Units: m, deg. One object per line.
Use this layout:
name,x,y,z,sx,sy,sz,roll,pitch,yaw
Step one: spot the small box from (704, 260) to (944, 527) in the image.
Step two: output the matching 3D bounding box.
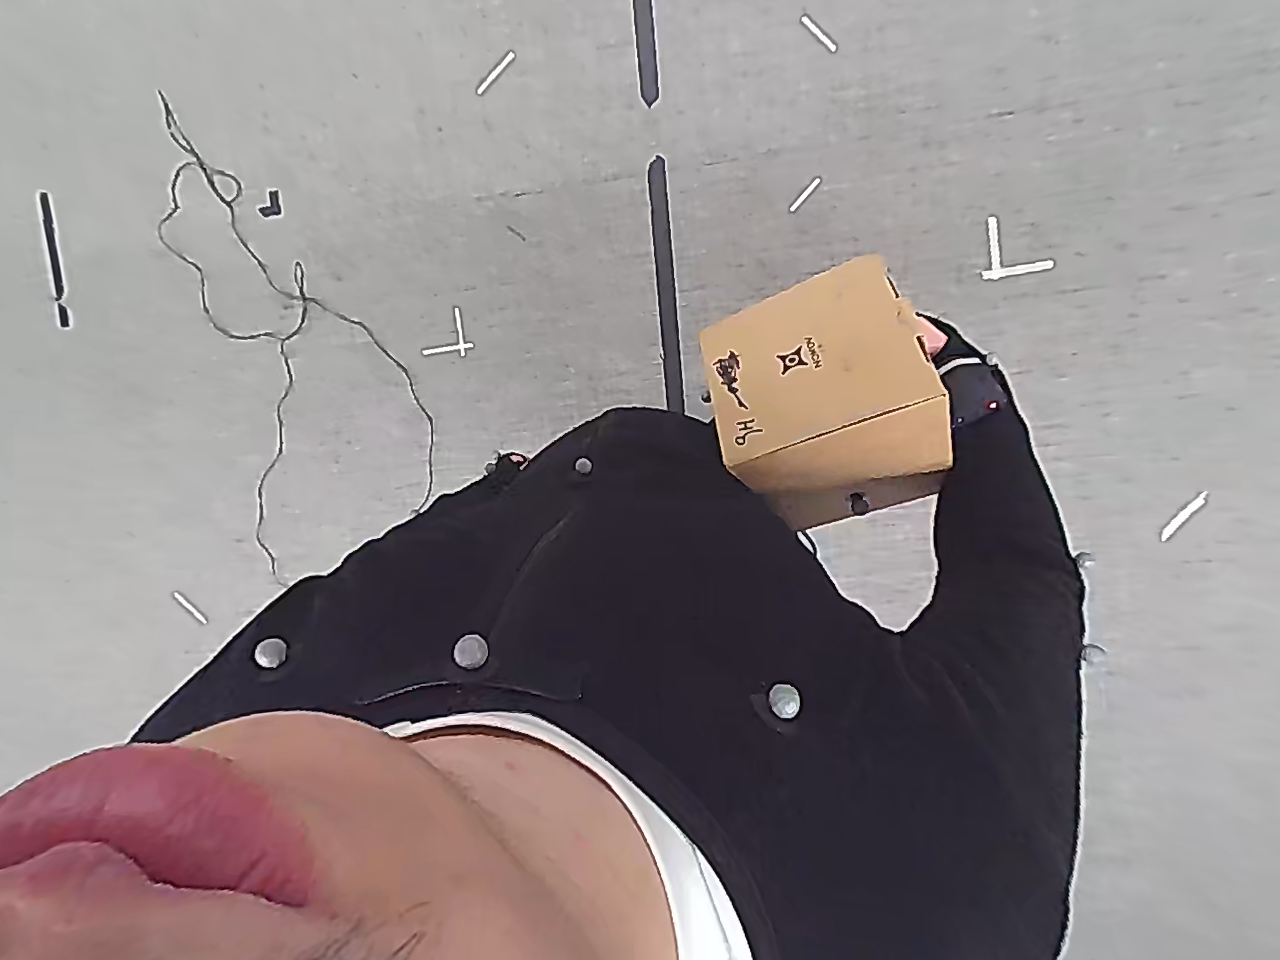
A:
small box,0.184,-0.073,0.543,0.179,0.176,0.168,-20,55,22
